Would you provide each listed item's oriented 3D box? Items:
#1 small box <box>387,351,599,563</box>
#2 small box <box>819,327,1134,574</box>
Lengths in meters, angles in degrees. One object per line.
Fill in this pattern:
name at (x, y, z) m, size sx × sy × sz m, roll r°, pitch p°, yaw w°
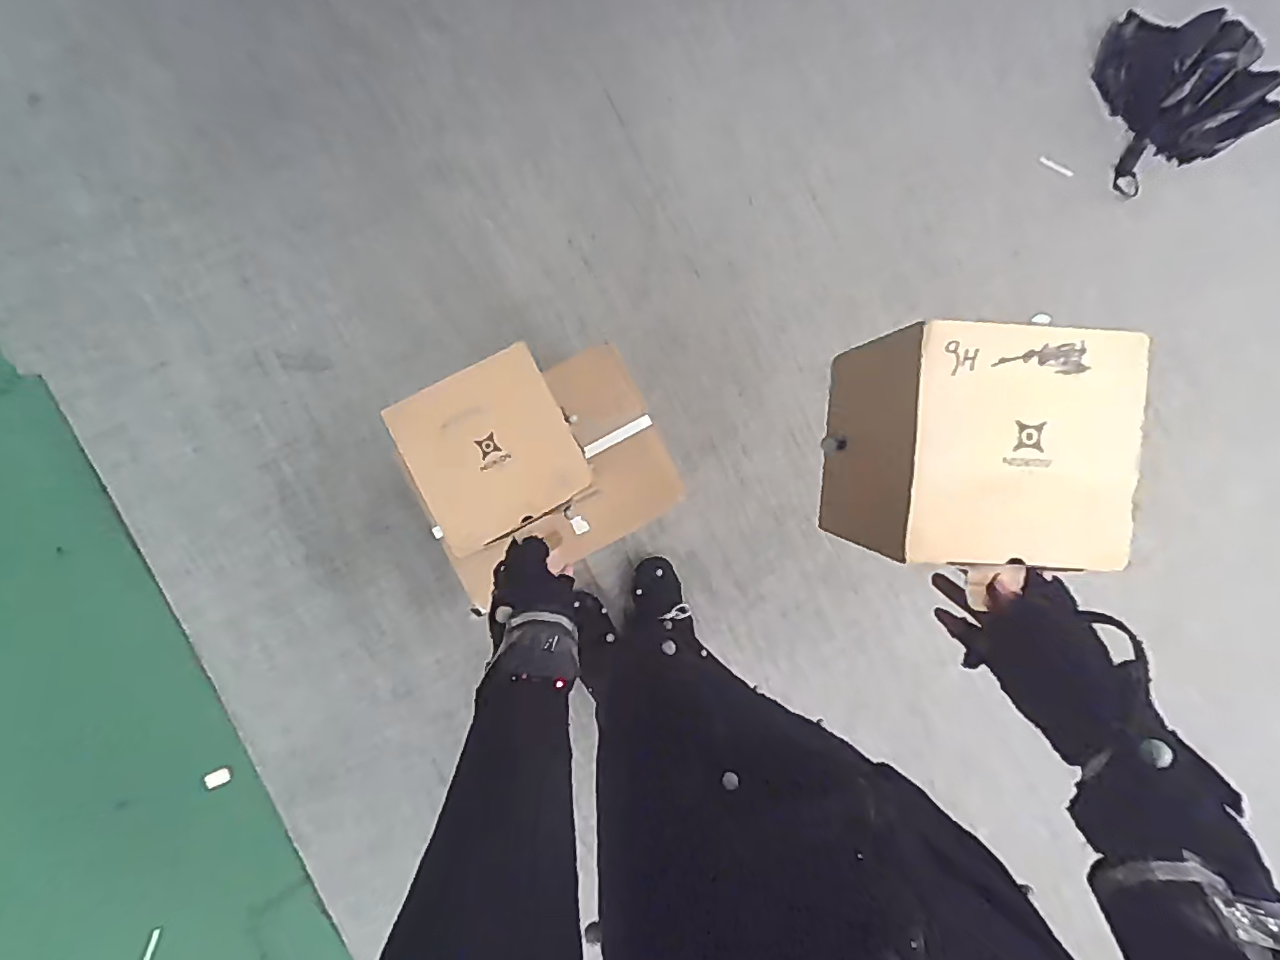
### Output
small box at (-0.156, -0.022, 0.643) m, size 0.168 × 0.176 × 0.179 m, roll -28°, pitch 88°, yaw -4°
small box at (0.268, -0.026, 0.473) m, size 0.168 × 0.176 × 0.179 m, roll 2°, pitch 94°, yaw -3°
